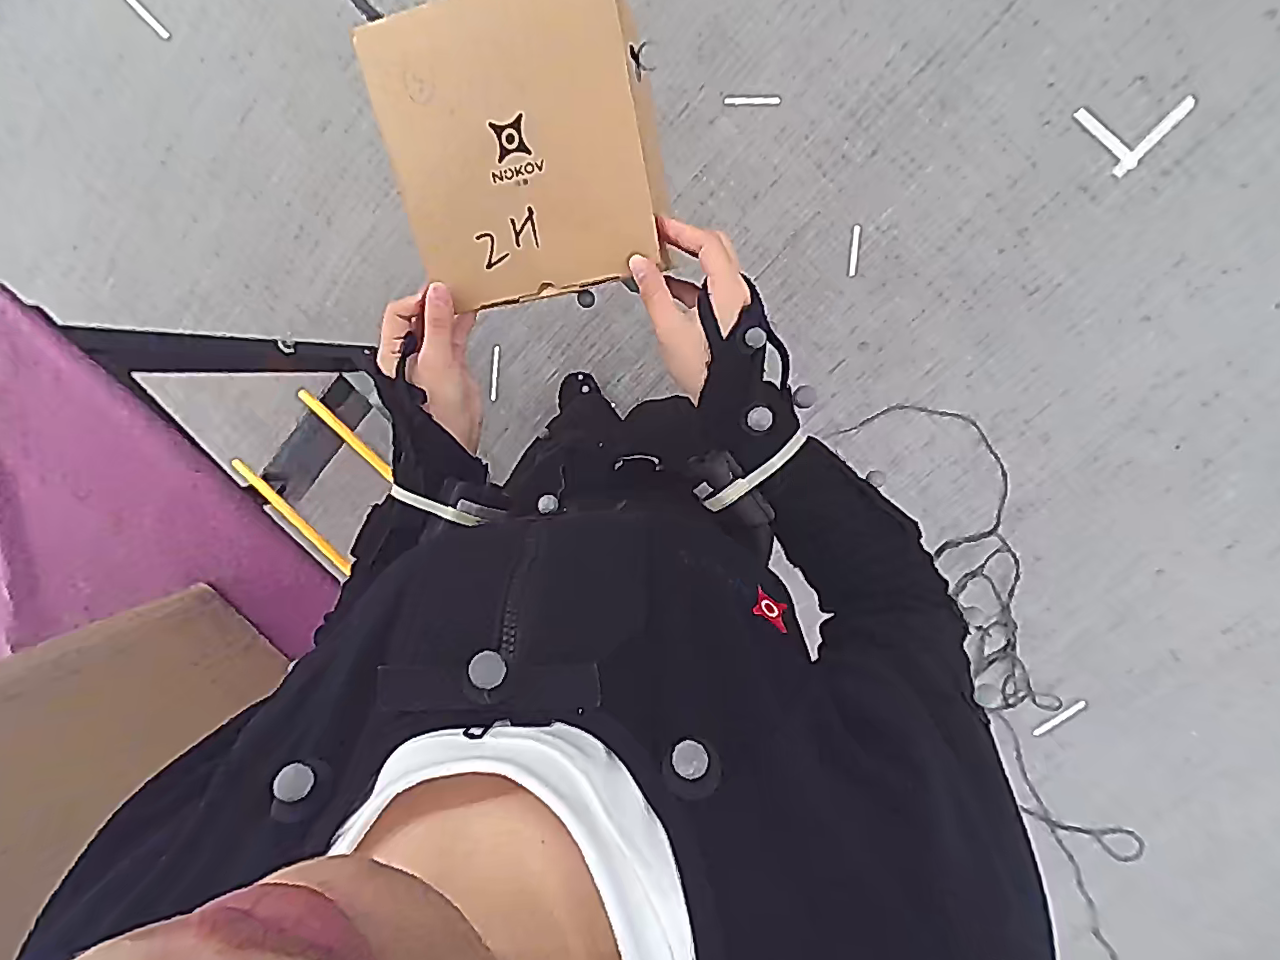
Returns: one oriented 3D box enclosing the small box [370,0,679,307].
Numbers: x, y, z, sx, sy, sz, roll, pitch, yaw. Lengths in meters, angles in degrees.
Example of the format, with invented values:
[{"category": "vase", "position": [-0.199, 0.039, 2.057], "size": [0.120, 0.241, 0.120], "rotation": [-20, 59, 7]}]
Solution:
[{"category": "small box", "position": [-0.066, -0.242, 0.424], "size": [0.168, 0.176, 0.179], "rotation": [-7, 110, 11]}]
